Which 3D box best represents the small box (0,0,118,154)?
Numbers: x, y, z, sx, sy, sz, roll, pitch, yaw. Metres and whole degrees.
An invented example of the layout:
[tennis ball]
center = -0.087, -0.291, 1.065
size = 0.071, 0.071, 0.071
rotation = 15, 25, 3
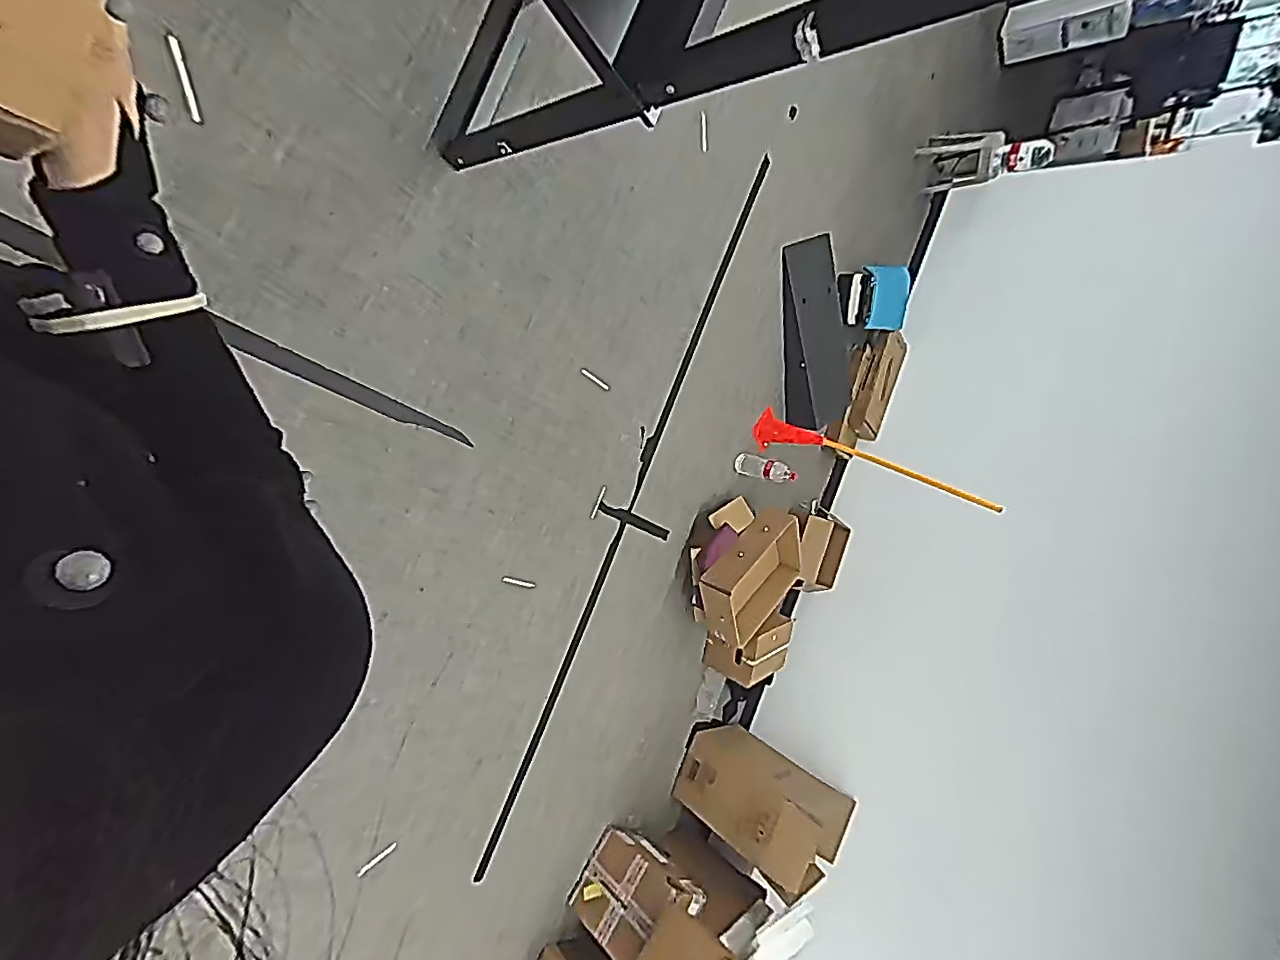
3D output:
[small box]
center = -0.312, -0.252, 0.200
size = 0.168, 0.176, 0.179
rotation = 17, 92, -56
